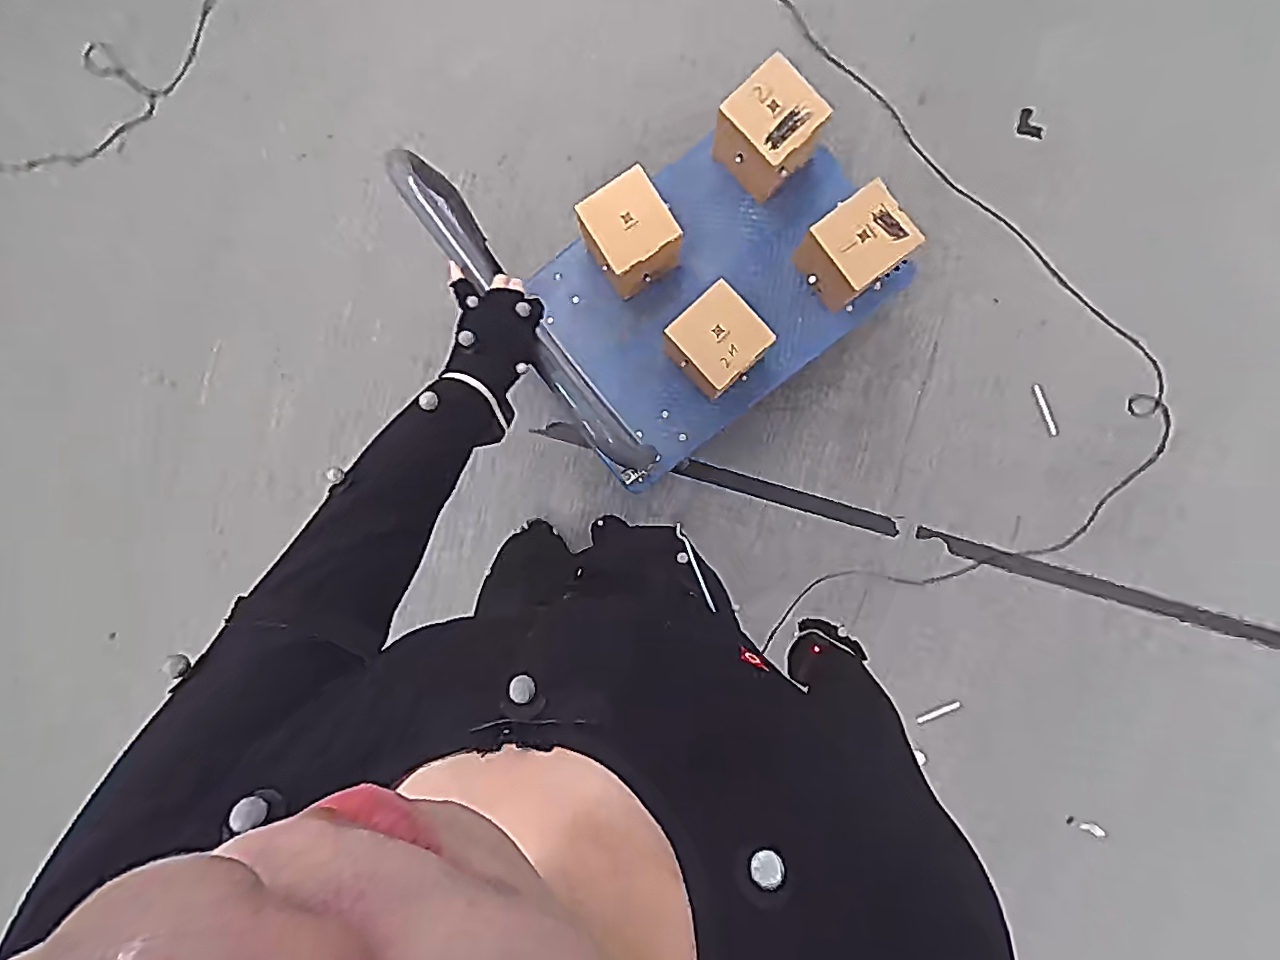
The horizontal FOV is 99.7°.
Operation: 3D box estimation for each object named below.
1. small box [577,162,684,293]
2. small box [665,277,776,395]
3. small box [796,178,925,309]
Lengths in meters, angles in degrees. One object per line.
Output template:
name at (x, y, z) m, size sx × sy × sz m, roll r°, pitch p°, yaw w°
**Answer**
small box at (-0.019, -0.552, 1.211) m, size 0.168 × 0.176 × 0.179 m, roll -33°, pitch 91°, yaw 3°
small box at (0.171, -0.310, 1.207) m, size 0.168 × 0.176 × 0.179 m, roll -41°, pitch 89°, yaw 3°
small box at (0.473, -0.509, 1.189) m, size 0.179 × 0.176 × 0.168 m, roll -36°, pitch 90°, yaw 4°
